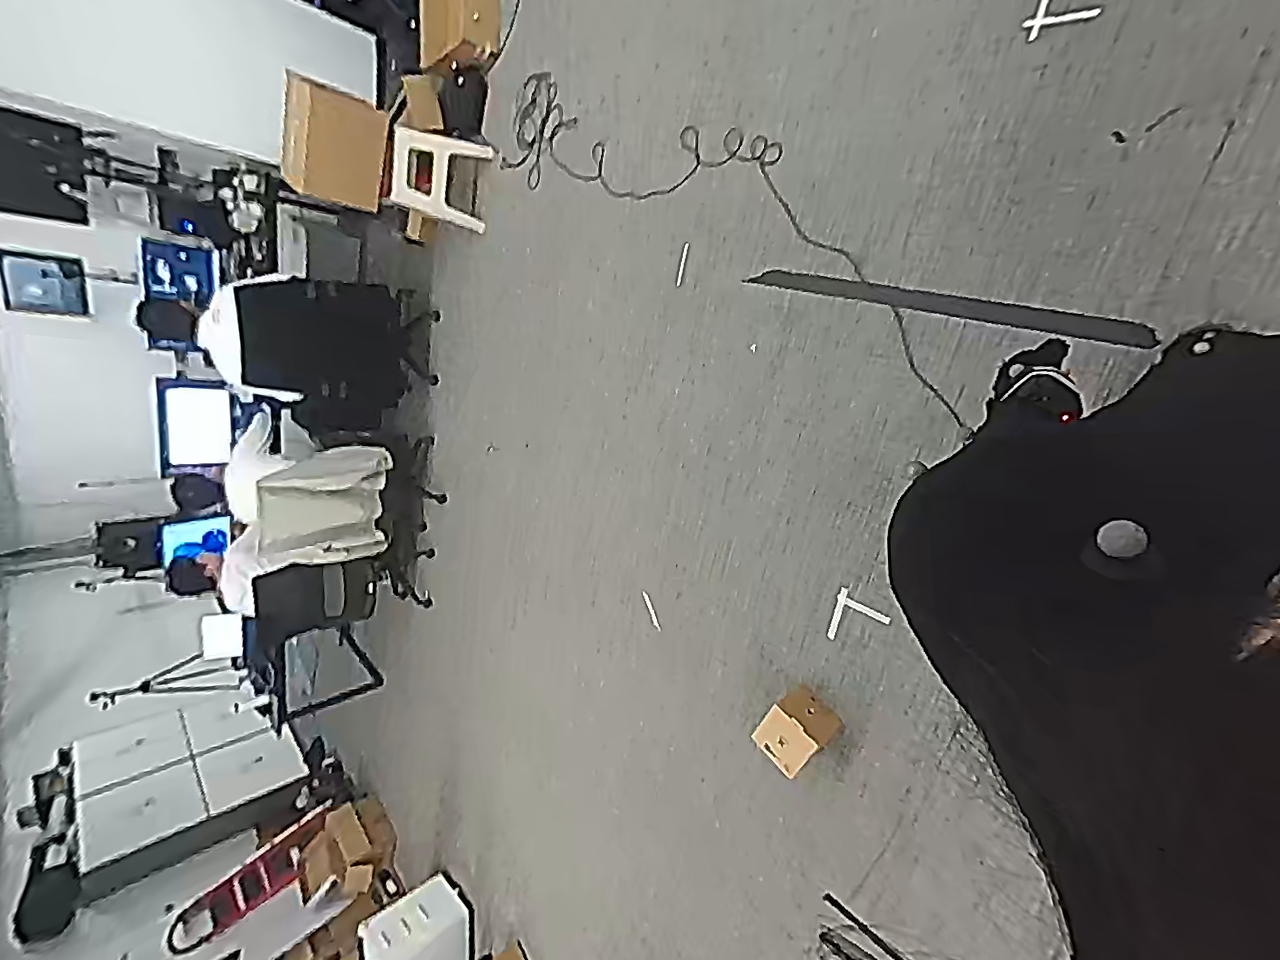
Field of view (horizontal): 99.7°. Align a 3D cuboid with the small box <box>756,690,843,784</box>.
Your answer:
[{"bbox_3d":[0.500,0.788,1.678,0.168,0.176,0.179,42,122,33],"label":"small box"}]
